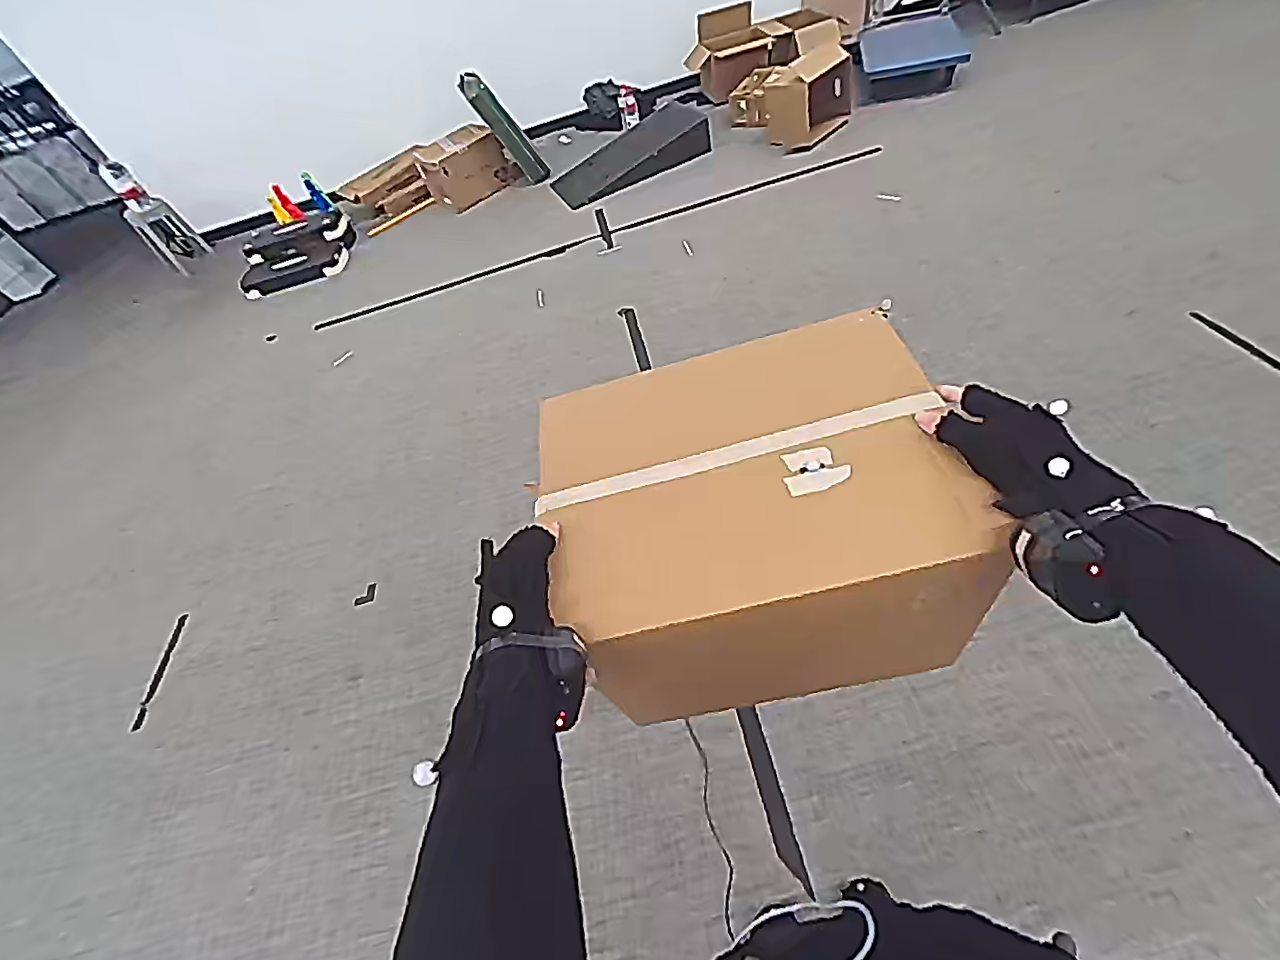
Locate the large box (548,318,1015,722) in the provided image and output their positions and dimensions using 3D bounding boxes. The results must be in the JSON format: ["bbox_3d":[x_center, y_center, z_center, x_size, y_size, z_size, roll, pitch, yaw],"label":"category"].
[{"bbox_3d":[0.132,0.066,0.667,0.408,0.320,0.320,-15,53,6],"label":"large box"}]
